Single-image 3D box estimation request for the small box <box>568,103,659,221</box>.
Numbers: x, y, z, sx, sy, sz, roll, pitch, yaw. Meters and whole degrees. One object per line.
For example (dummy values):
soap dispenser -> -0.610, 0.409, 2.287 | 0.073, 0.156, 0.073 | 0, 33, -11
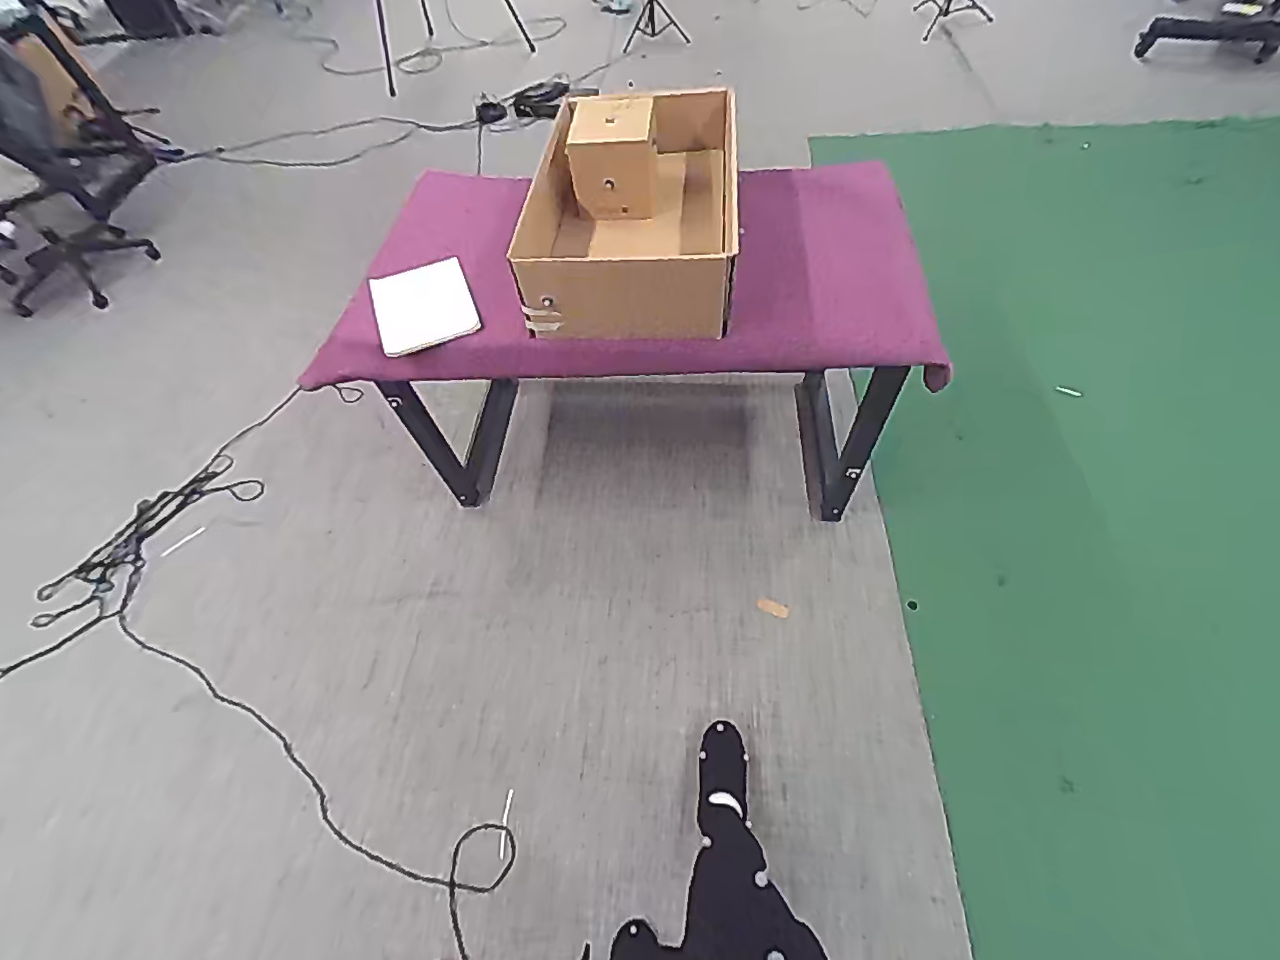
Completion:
small box -> -0.049, -0.690, 1.186 | 0.168, 0.176, 0.179 | 2, 58, 7
